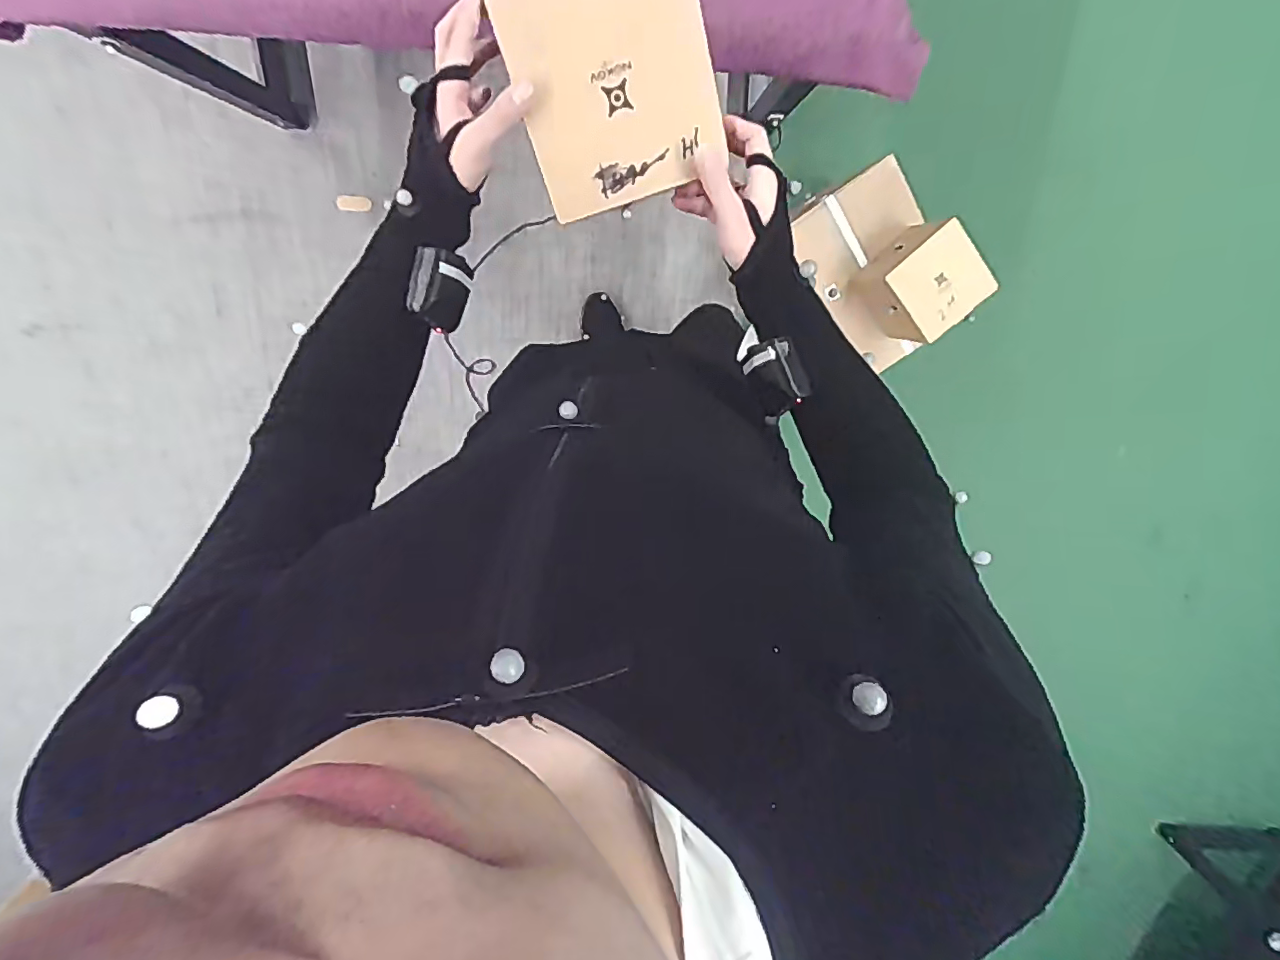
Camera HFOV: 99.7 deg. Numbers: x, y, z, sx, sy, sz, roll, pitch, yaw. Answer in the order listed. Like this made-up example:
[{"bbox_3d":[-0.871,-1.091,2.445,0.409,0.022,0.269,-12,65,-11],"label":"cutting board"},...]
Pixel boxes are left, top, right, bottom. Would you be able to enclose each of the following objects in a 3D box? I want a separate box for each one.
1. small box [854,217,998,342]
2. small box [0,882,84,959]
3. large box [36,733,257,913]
[{"bbox_3d":[0.587,-0.413,1.134,0.168,0.176,0.179,-41,107,10],"label":"small box"},{"bbox_3d":[-1.672,1.232,1.448,0.179,0.176,0.168,-41,106,12],"label":"small box"},{"bbox_3d":[-1.666,1.168,1.861,0.320,0.320,0.408,-42,107,13],"label":"large box"}]
